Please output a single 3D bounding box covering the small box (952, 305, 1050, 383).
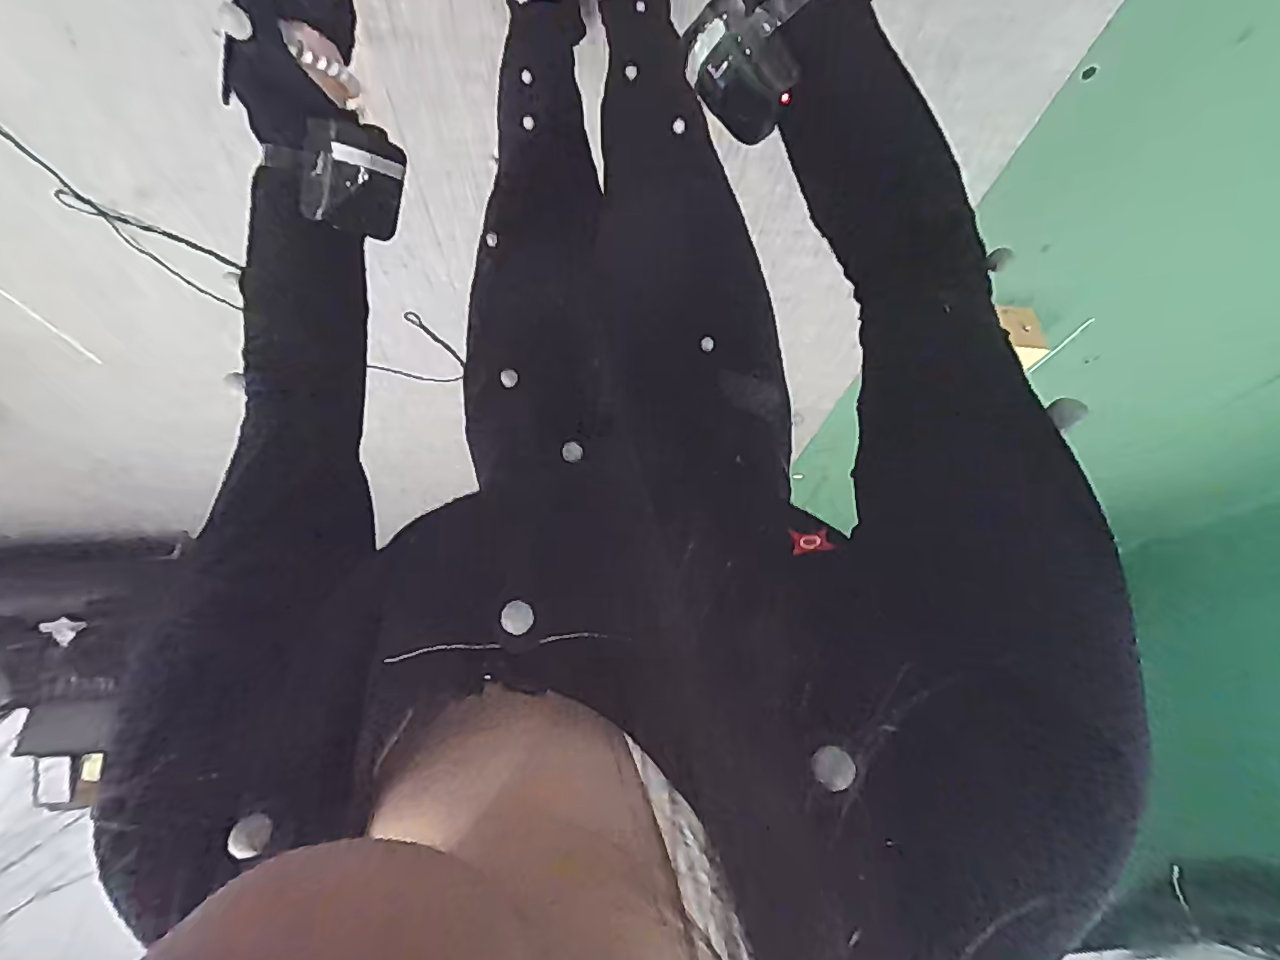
[{"bbox_3d":[1.121,-0.426,1.696,0.168,0.176,0.179,2,155,-11],"label":"small box"}]
